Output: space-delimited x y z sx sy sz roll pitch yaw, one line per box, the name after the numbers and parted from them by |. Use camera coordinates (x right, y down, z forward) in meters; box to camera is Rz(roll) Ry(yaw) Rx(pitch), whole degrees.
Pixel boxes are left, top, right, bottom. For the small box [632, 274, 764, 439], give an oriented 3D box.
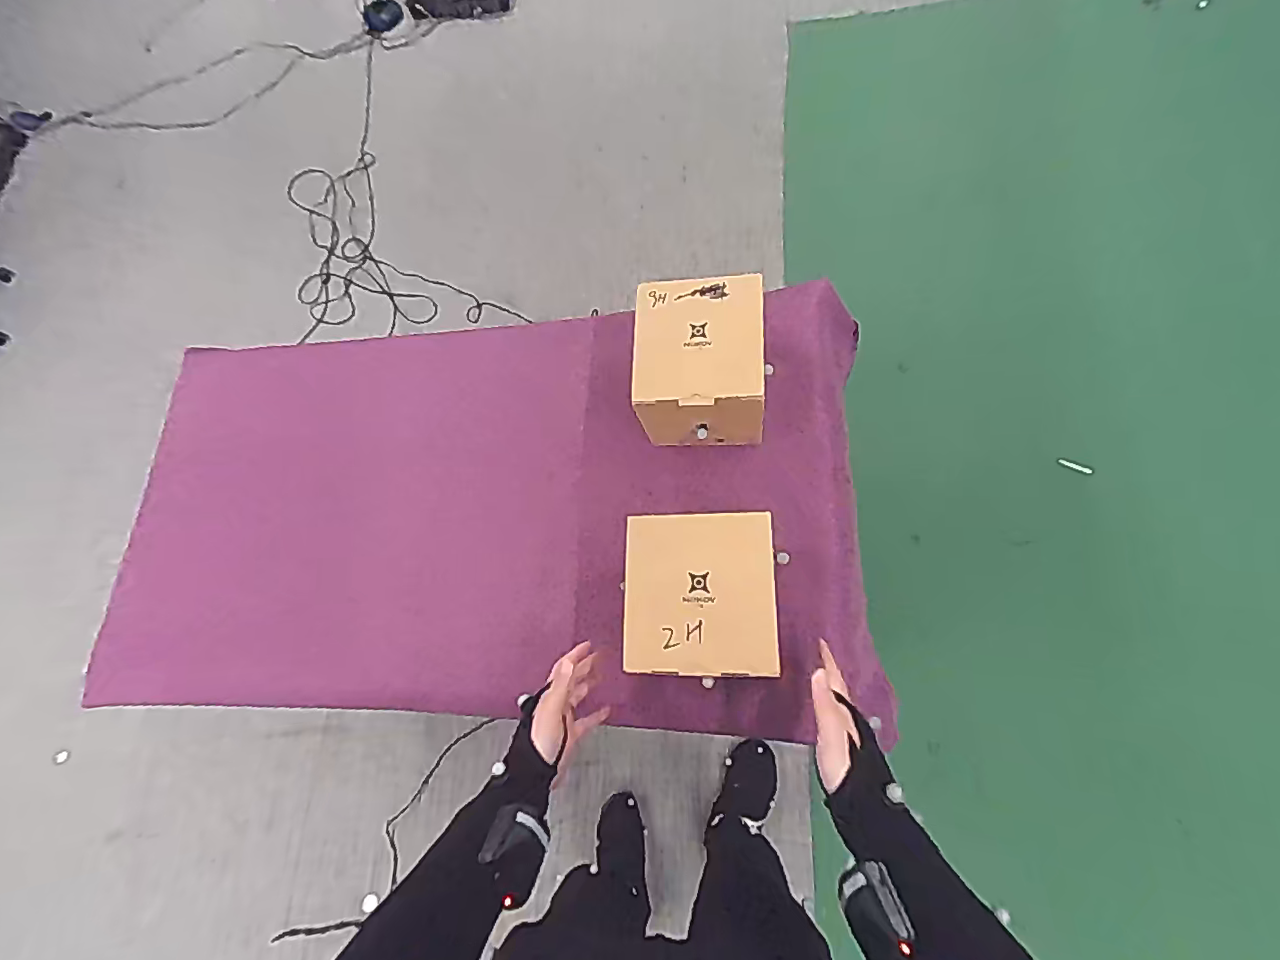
0.090 -0.161 0.762 0.168 0.176 0.179 0 75 11 | small box

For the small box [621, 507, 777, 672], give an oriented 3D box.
0.079 0.140 0.667 0.168 0.176 0.179 -2 72 12 | small box
